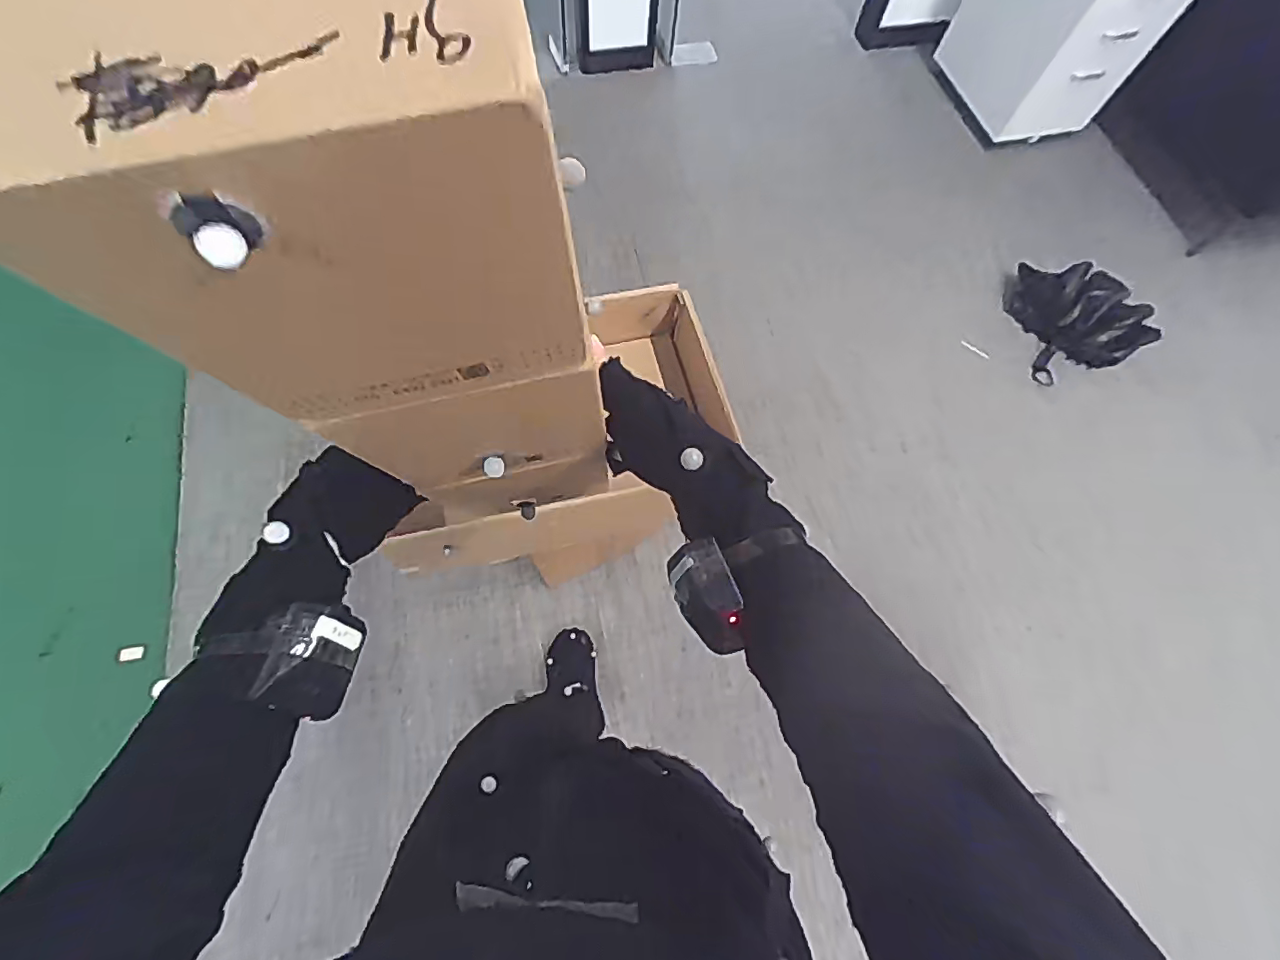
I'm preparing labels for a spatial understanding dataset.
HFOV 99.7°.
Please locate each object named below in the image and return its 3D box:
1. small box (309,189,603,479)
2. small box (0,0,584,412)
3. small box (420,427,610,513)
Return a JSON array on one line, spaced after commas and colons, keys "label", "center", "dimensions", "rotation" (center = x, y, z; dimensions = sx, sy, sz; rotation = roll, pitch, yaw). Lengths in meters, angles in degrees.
[{"label": "small box", "center": [-0.126, -0.115, 0.409], "dimensions": [0.168, 0.176, 0.179], "rotation": [-12, 78, -3]}, {"label": "small box", "center": [-0.127, -0.153, 0.249], "dimensions": [0.168, 0.176, 0.179], "rotation": [-13, 77, -3]}, {"label": "small box", "center": [-0.130, -0.076, 0.569], "dimensions": [0.168, 0.176, 0.179], "rotation": [-13, 79, -3]}]
